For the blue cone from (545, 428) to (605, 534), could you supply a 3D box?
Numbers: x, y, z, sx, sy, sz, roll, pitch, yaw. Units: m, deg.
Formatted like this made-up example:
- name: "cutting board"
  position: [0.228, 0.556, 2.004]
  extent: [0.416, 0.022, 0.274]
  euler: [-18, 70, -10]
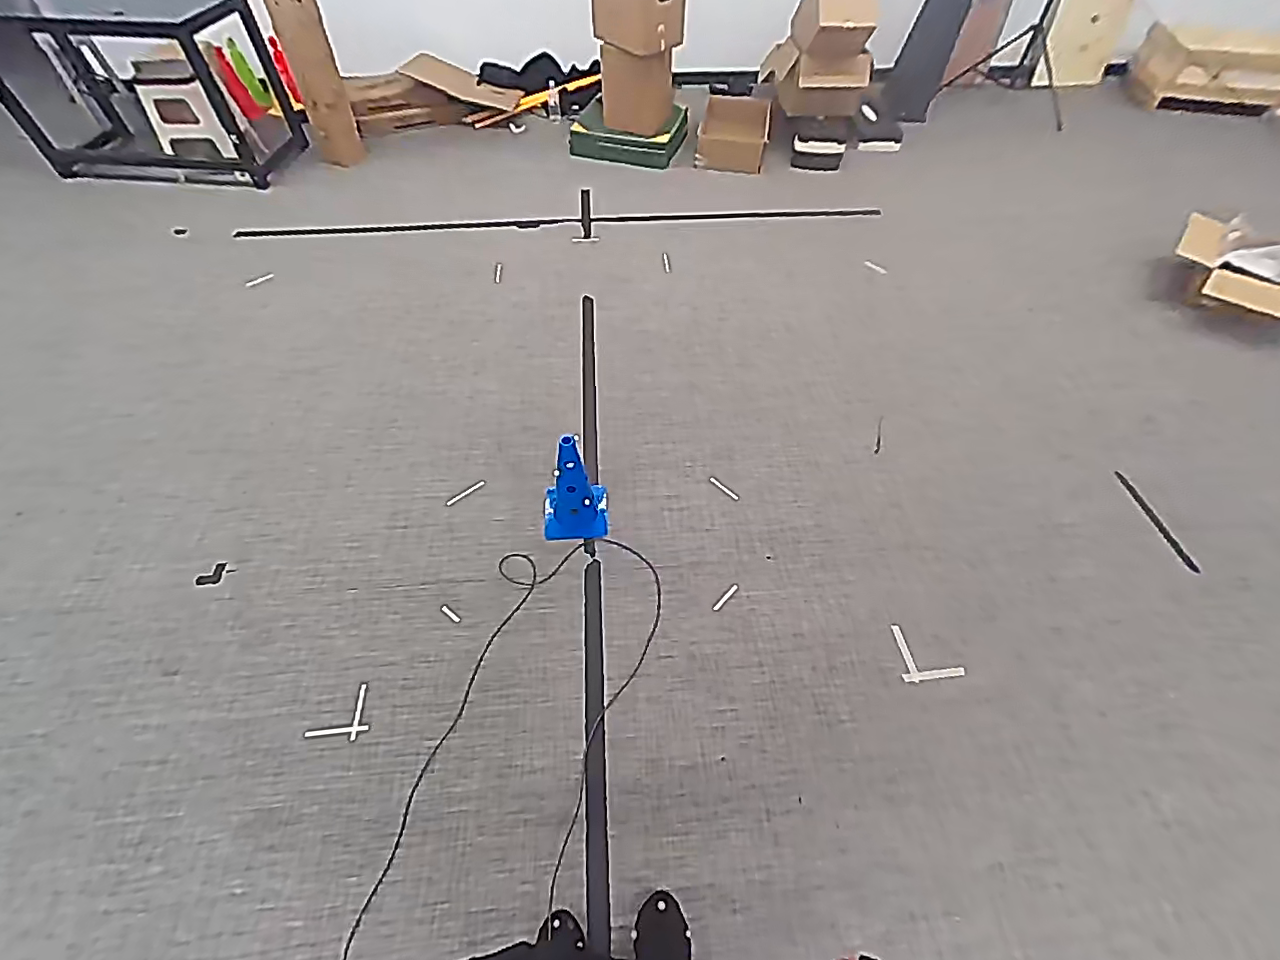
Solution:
- name: "blue cone"
  position: [-0.206, -0.010, 1.594]
  extent: [0.193, 0.380, 0.192]
  euler: [-4, 54, -4]
